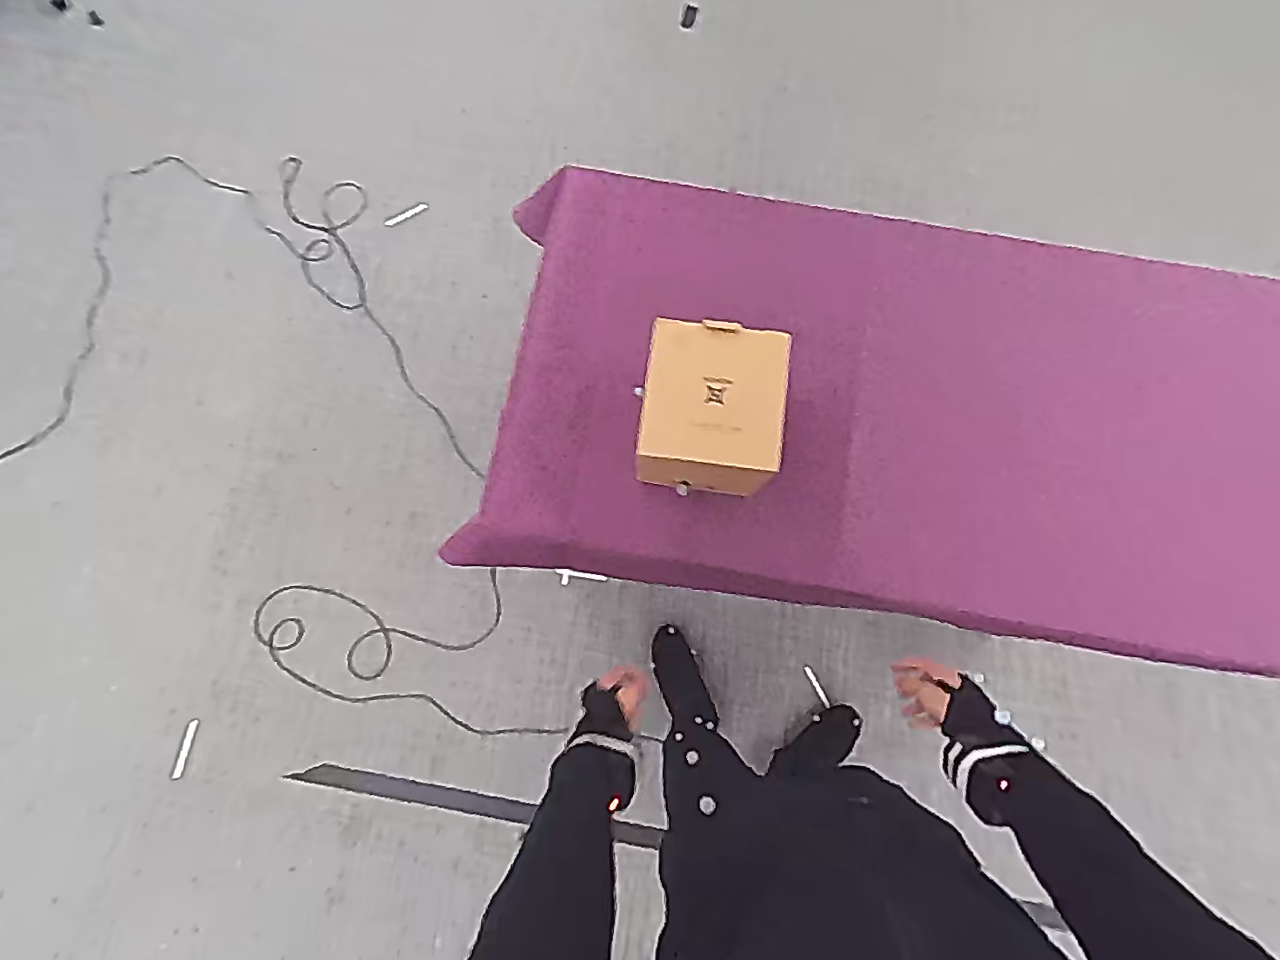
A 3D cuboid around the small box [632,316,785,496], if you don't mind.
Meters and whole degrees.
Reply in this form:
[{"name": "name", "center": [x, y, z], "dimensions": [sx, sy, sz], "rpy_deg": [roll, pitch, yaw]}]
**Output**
[{"name": "small box", "center": [0.082, -0.087, 0.710], "dimensions": [0.168, 0.176, 0.179], "rpy_deg": [8, 78, 2]}]
